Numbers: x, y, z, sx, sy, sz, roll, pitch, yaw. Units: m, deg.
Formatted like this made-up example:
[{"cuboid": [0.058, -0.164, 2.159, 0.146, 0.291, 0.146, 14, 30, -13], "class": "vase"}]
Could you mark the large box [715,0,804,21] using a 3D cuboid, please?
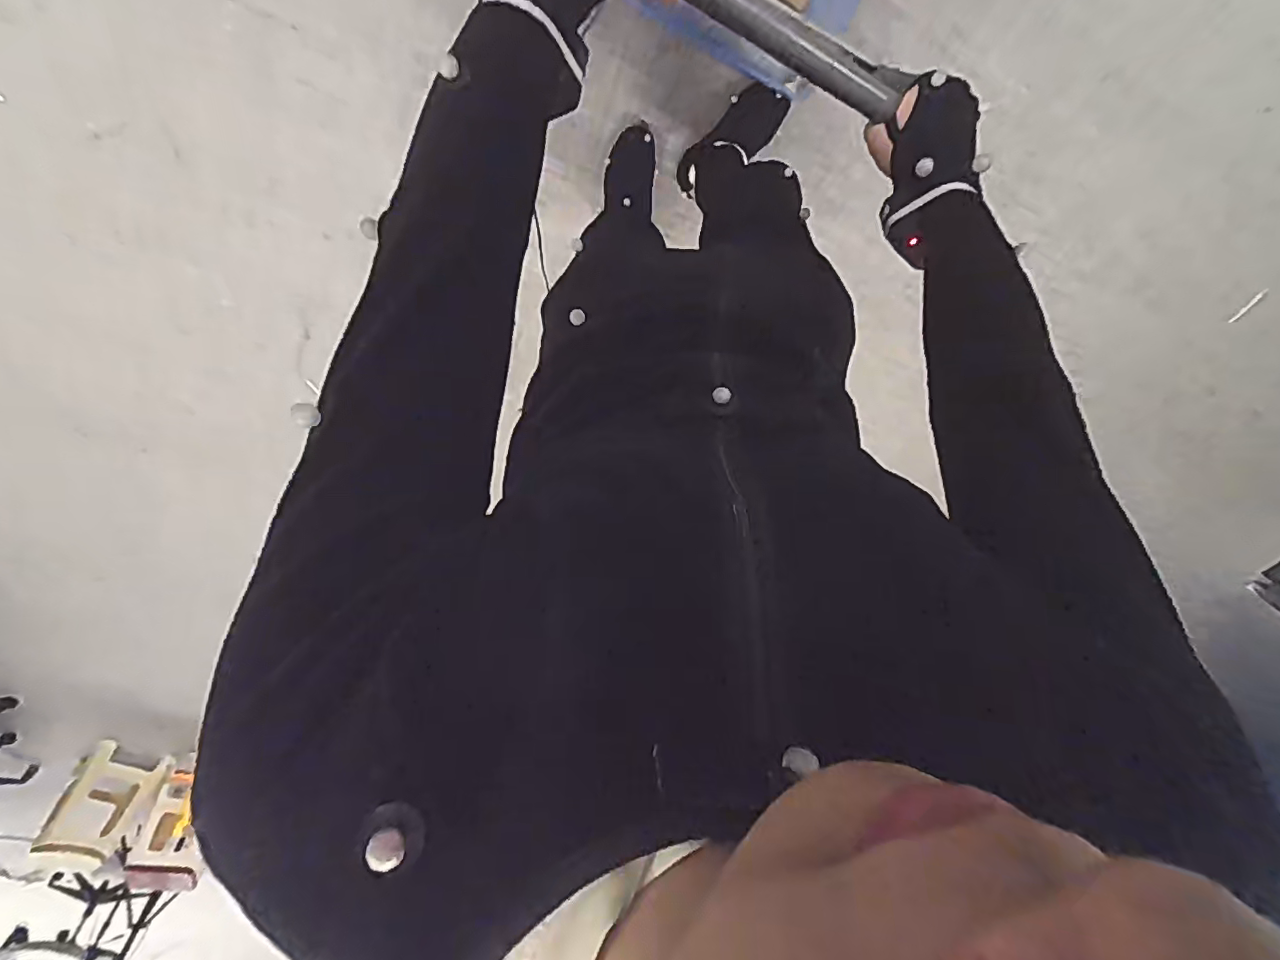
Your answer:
[{"cuboid": [0.158, -0.950, 0.740, 0.320, 0.320, 0.408, 17, 124, -19], "class": "large box"}]
